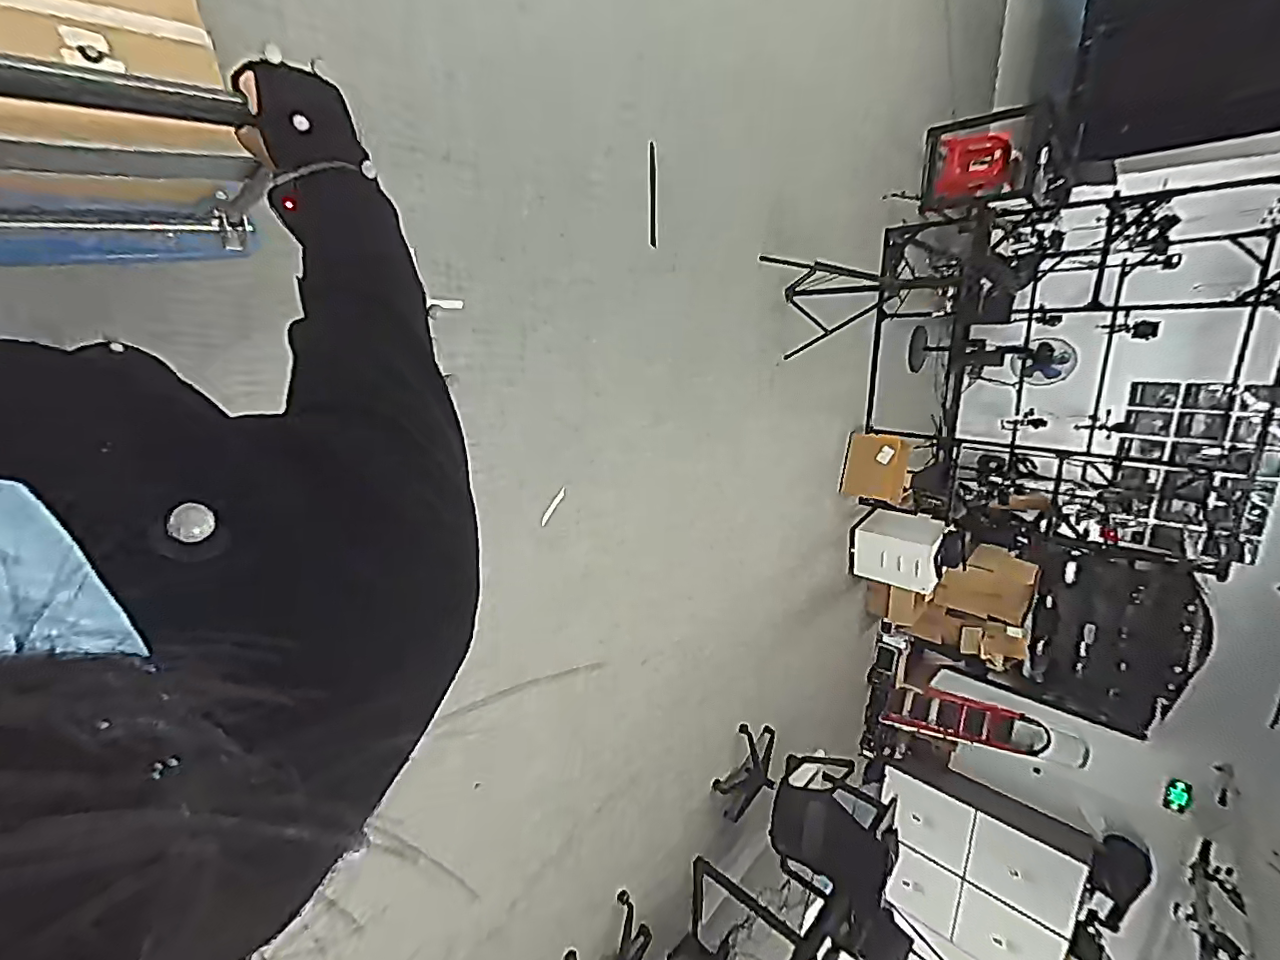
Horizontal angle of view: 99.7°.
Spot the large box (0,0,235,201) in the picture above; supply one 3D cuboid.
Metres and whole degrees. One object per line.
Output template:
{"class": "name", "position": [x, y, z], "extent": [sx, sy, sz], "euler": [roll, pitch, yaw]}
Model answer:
{"class": "large box", "position": [-0.854, -0.572, 0.712], "extent": [0.408, 0.320, 0.320], "euler": [-24, 117, -44]}
